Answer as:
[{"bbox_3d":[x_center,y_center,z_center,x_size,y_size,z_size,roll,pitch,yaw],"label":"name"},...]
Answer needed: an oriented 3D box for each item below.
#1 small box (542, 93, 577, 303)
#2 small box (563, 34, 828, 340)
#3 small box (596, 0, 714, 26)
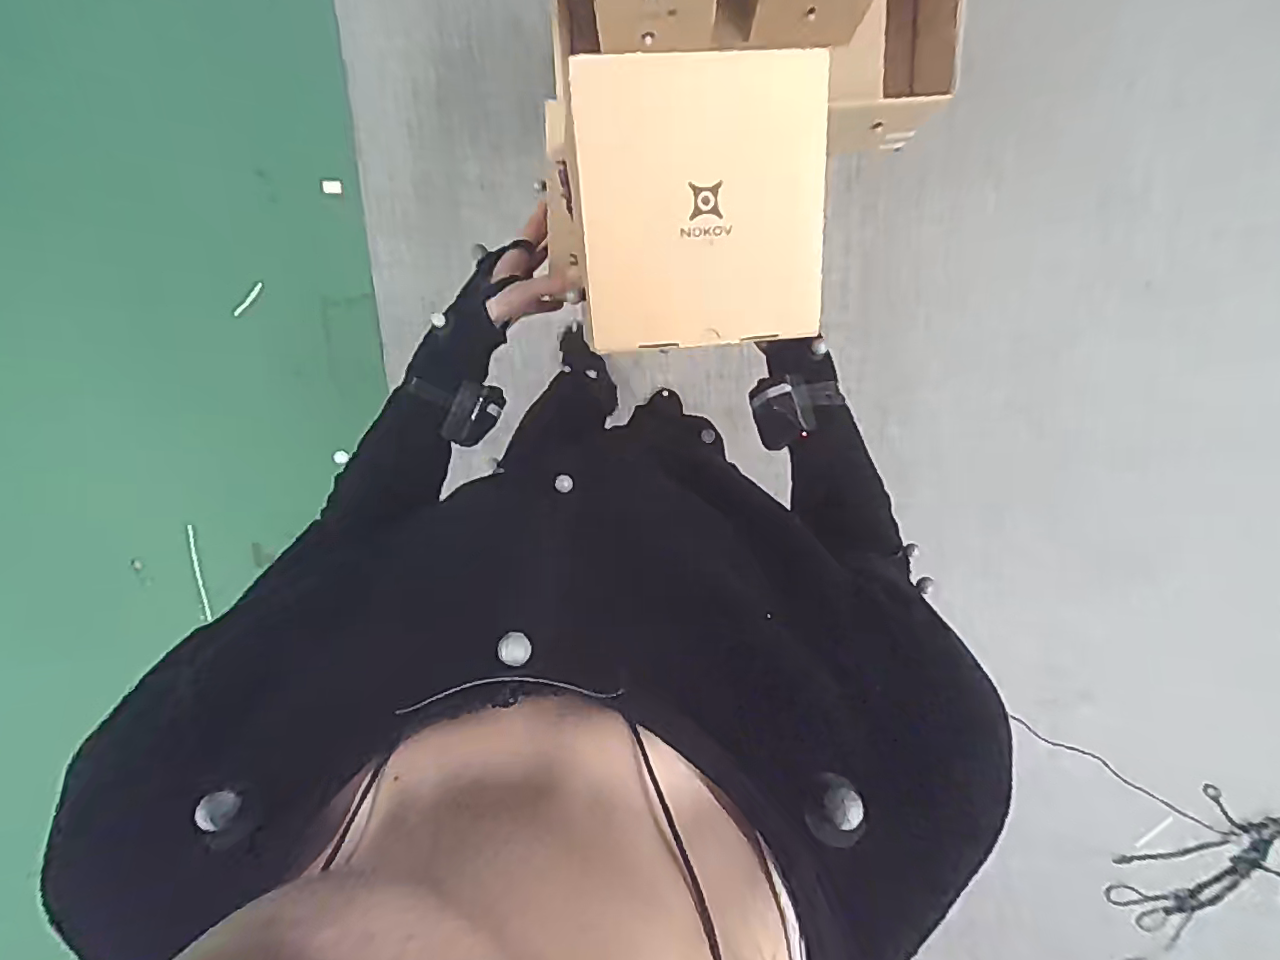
[{"bbox_3d":[-0.013,-0.273,0.573,0.179,0.176,0.168,0,105,-9],"label":"small box"},{"bbox_3d":[0.029,-0.206,0.424,0.168,0.176,0.179,-6,108,-6],"label":"small box"},{"bbox_3d":[0.017,-0.721,0.689,0.168,0.176,0.179,-2,101,2],"label":"small box"}]
